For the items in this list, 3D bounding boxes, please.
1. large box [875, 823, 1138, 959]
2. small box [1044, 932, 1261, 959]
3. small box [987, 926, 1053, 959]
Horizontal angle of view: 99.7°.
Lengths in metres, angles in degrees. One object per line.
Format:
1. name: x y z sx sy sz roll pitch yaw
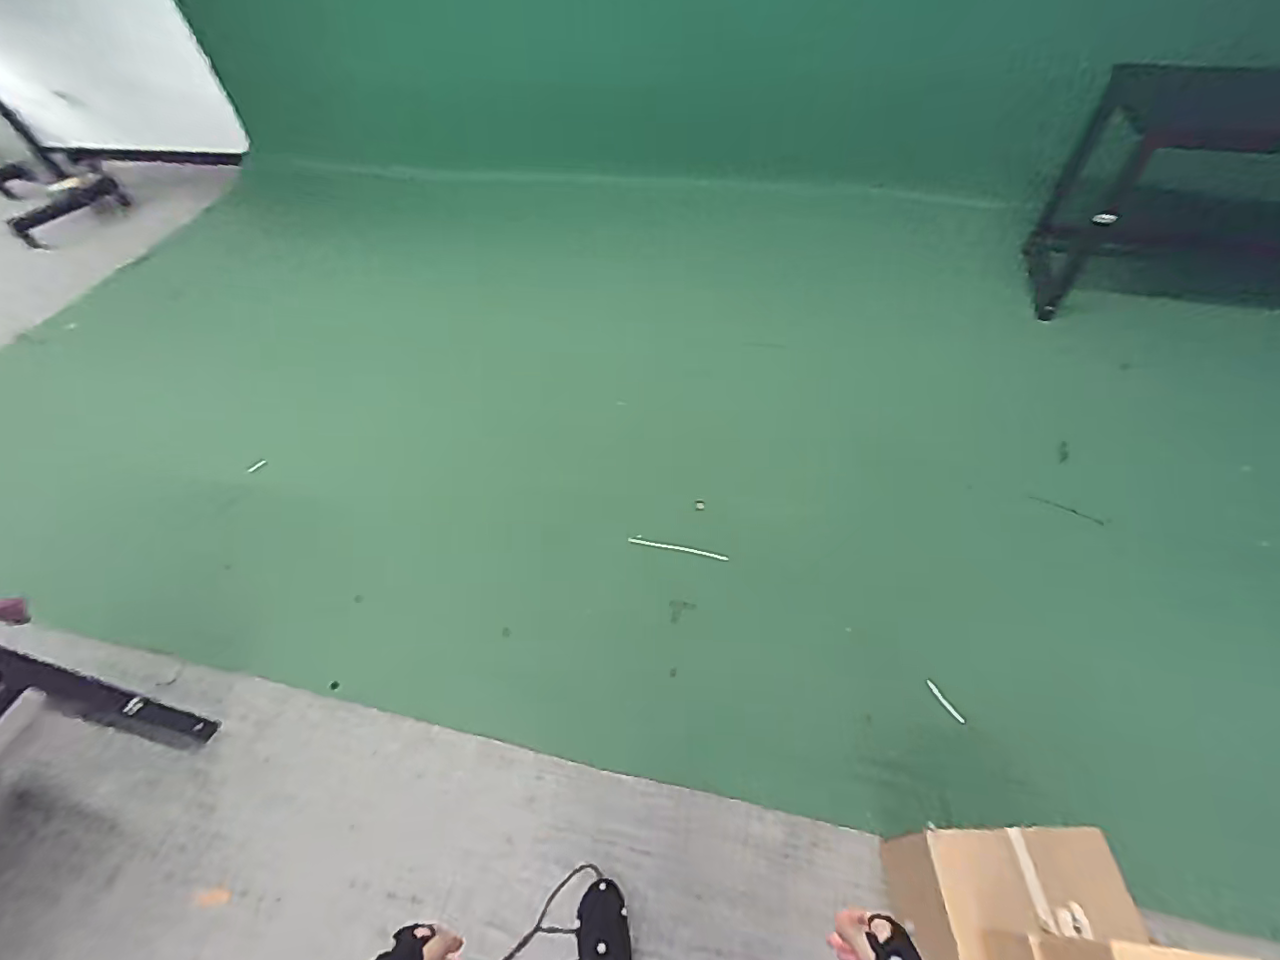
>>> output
1. large box: 0.672 0.881 0.978 0.320 0.320 0.408 -2 51 1
2. small box: 0.625 0.657 0.637 0.168 0.176 0.179 3 54 7
3. small box: 0.628 0.752 0.769 0.179 0.176 0.168 2 53 6
